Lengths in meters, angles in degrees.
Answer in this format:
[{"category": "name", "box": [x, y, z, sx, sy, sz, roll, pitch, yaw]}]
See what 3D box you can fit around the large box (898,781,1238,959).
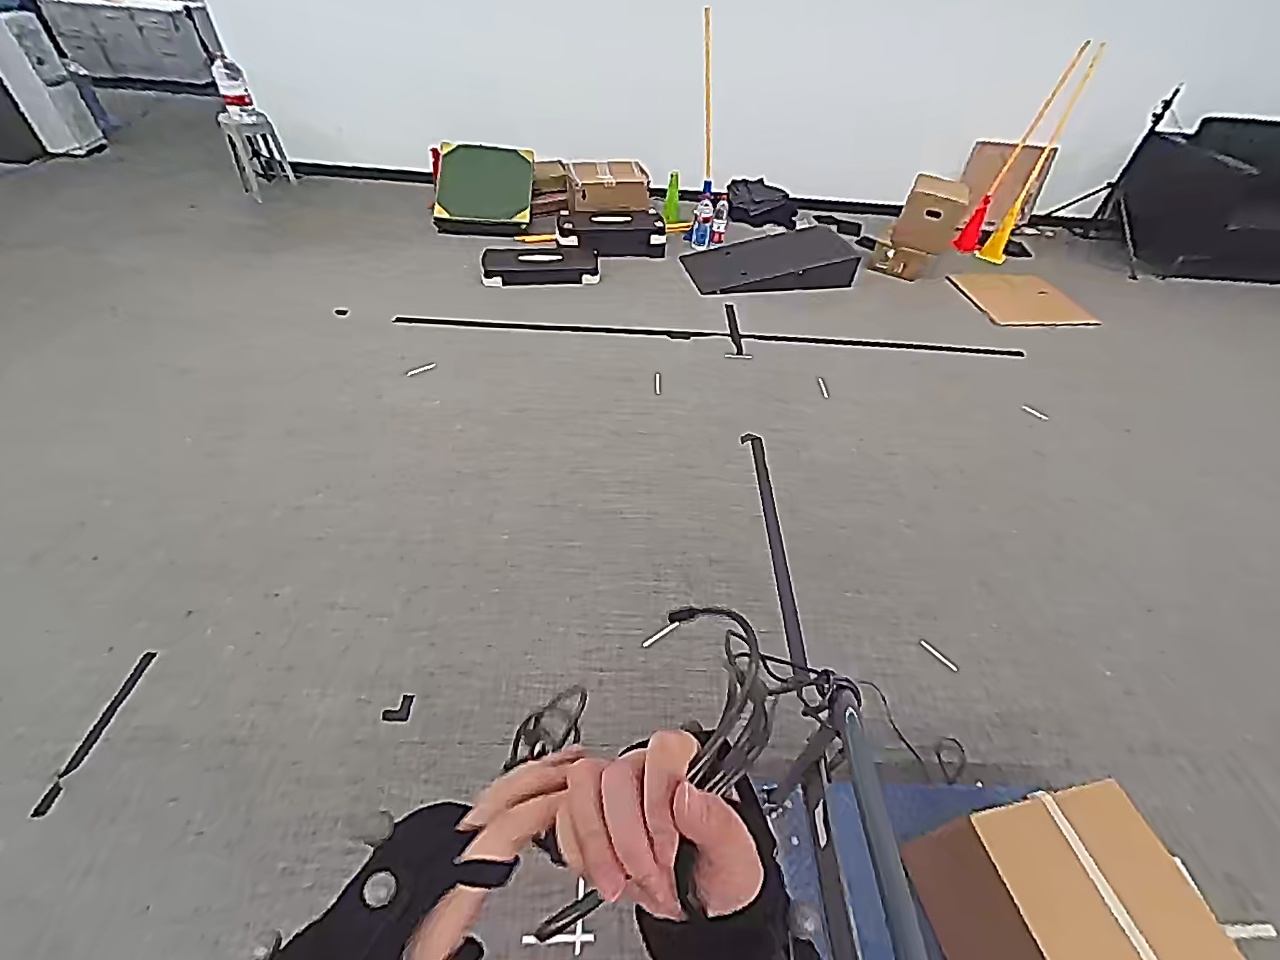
[{"category": "large box", "box": [0.741, 0.808, 0.938, 0.320, 0.320, 0.408, -6, 48, -10]}]
